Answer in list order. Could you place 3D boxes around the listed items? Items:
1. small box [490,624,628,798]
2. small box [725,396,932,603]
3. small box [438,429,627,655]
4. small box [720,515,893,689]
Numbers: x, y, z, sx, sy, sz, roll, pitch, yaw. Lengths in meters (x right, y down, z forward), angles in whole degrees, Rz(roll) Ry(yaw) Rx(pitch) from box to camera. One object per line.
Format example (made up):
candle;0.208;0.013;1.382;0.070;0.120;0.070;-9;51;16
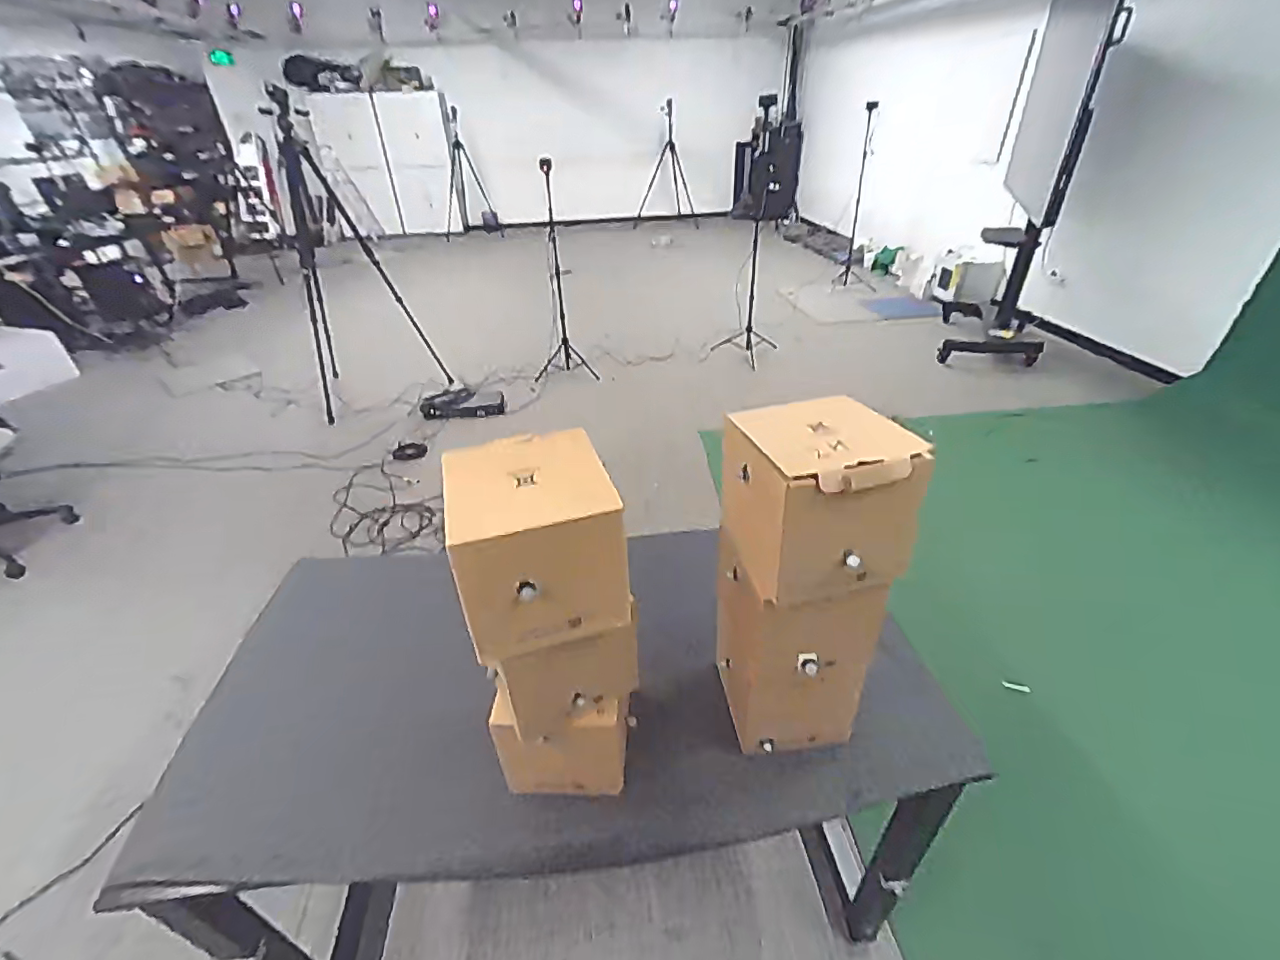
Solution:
small box;-0.106;0.332;0.793;0.168;0.176;0.179;-1;32;3
small box;0.206;0.018;0.649;0.168;0.176;0.179;-11;33;-9
small box;-0.117;0.068;0.597;0.168;0.176;0.179;-12;35;-15
small box;0.211;0.154;0.744;0.168;0.176;0.179;-9;33;-7
